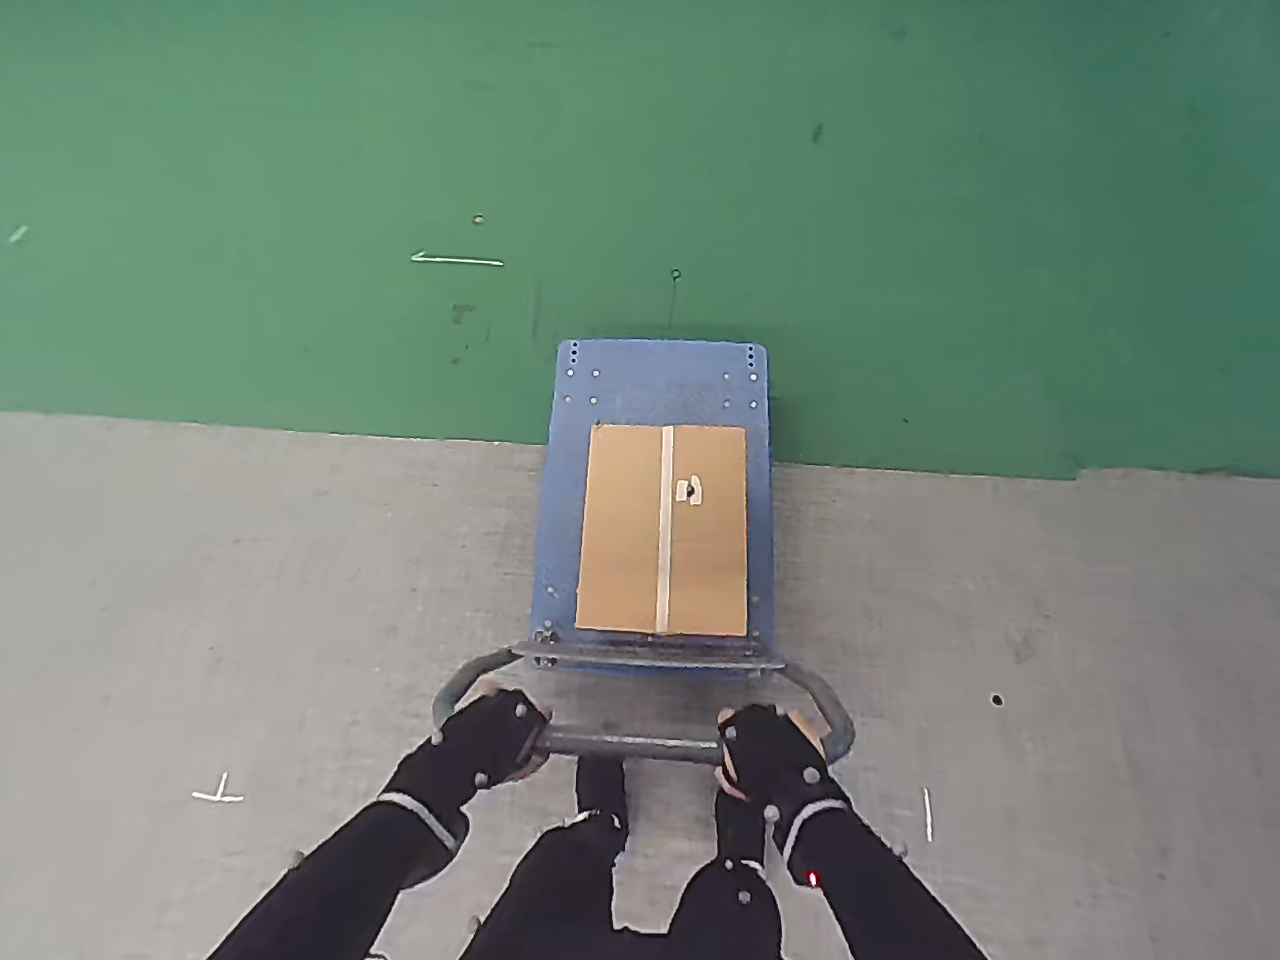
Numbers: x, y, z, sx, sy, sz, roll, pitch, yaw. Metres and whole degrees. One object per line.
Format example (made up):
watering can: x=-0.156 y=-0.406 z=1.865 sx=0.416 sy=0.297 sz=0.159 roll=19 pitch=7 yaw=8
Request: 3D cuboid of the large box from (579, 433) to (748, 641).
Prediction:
large box: x=0.052 y=0.140 z=1.179 sx=0.320 sy=0.320 sz=0.408 roll=2 pitch=73 yaw=2
